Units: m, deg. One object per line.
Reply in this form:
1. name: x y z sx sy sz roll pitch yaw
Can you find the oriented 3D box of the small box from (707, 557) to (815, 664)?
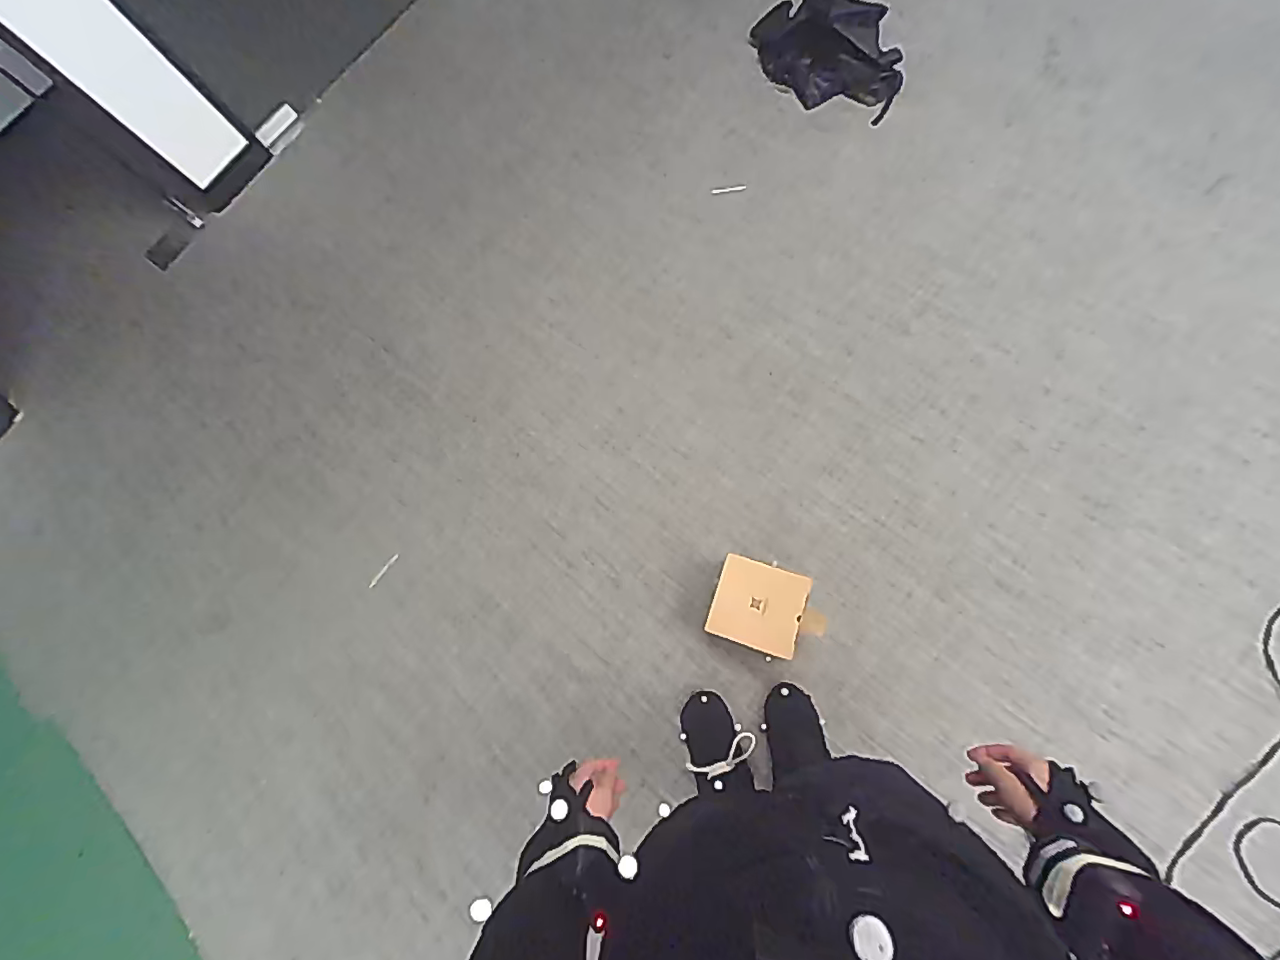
1. small box: 0.251 0.278 1.141 0.179 0.176 0.168 17 77 14
